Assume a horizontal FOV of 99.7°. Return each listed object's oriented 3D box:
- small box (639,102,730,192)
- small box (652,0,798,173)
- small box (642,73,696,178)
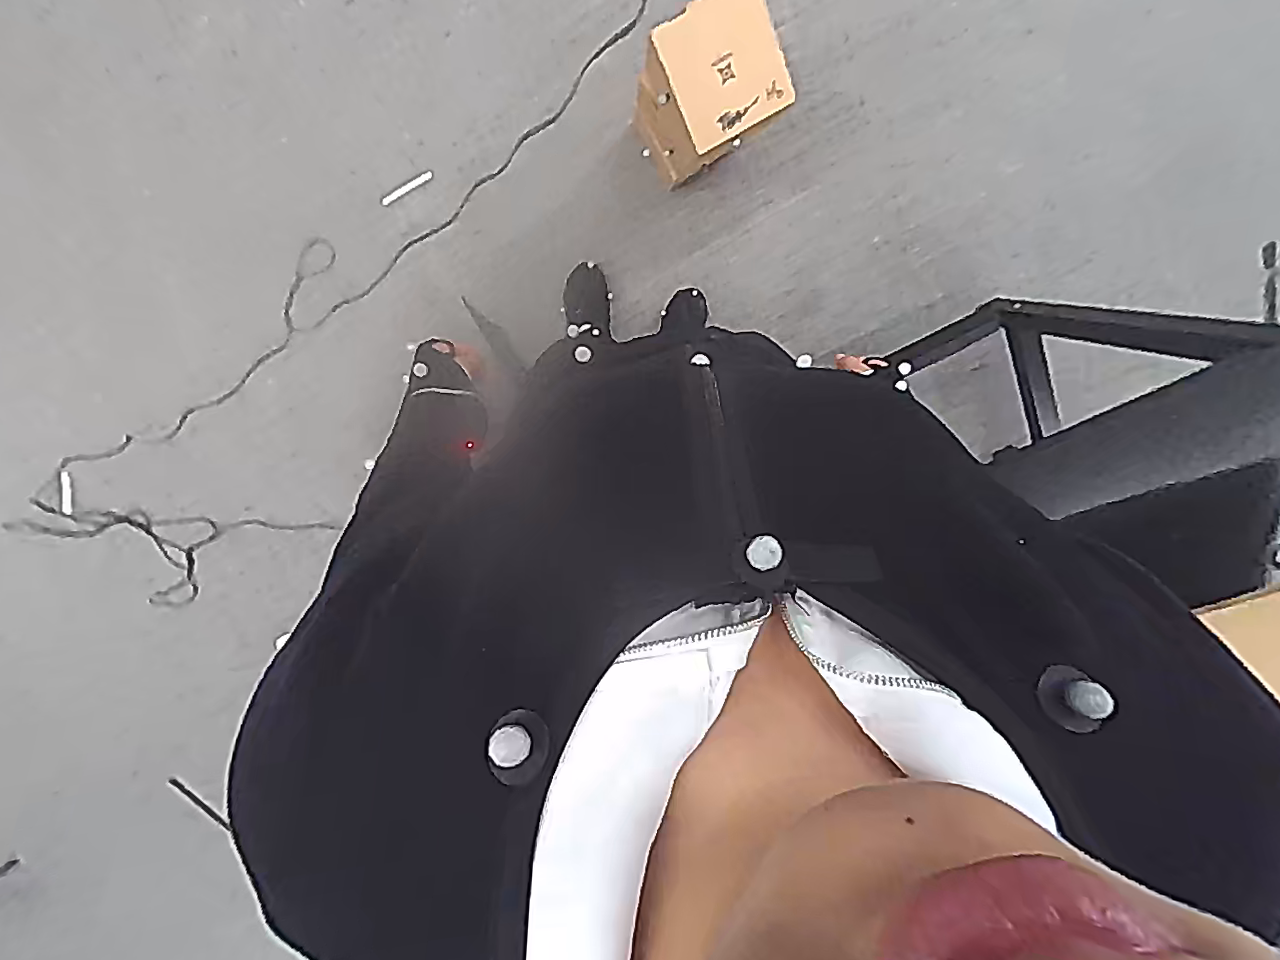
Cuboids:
[{"bbox_3d":[0.108,-0.758,1.174,0.179,0.176,0.168,-29,109,10],"label":"small box"},{"bbox_3d":[0.126,-0.633,0.873,0.168,0.176,0.179,-26,109,8],"label":"small box"},{"bbox_3d":[0.117,-0.705,1.022,0.179,0.176,0.168,-33,109,9],"label":"small box"}]
